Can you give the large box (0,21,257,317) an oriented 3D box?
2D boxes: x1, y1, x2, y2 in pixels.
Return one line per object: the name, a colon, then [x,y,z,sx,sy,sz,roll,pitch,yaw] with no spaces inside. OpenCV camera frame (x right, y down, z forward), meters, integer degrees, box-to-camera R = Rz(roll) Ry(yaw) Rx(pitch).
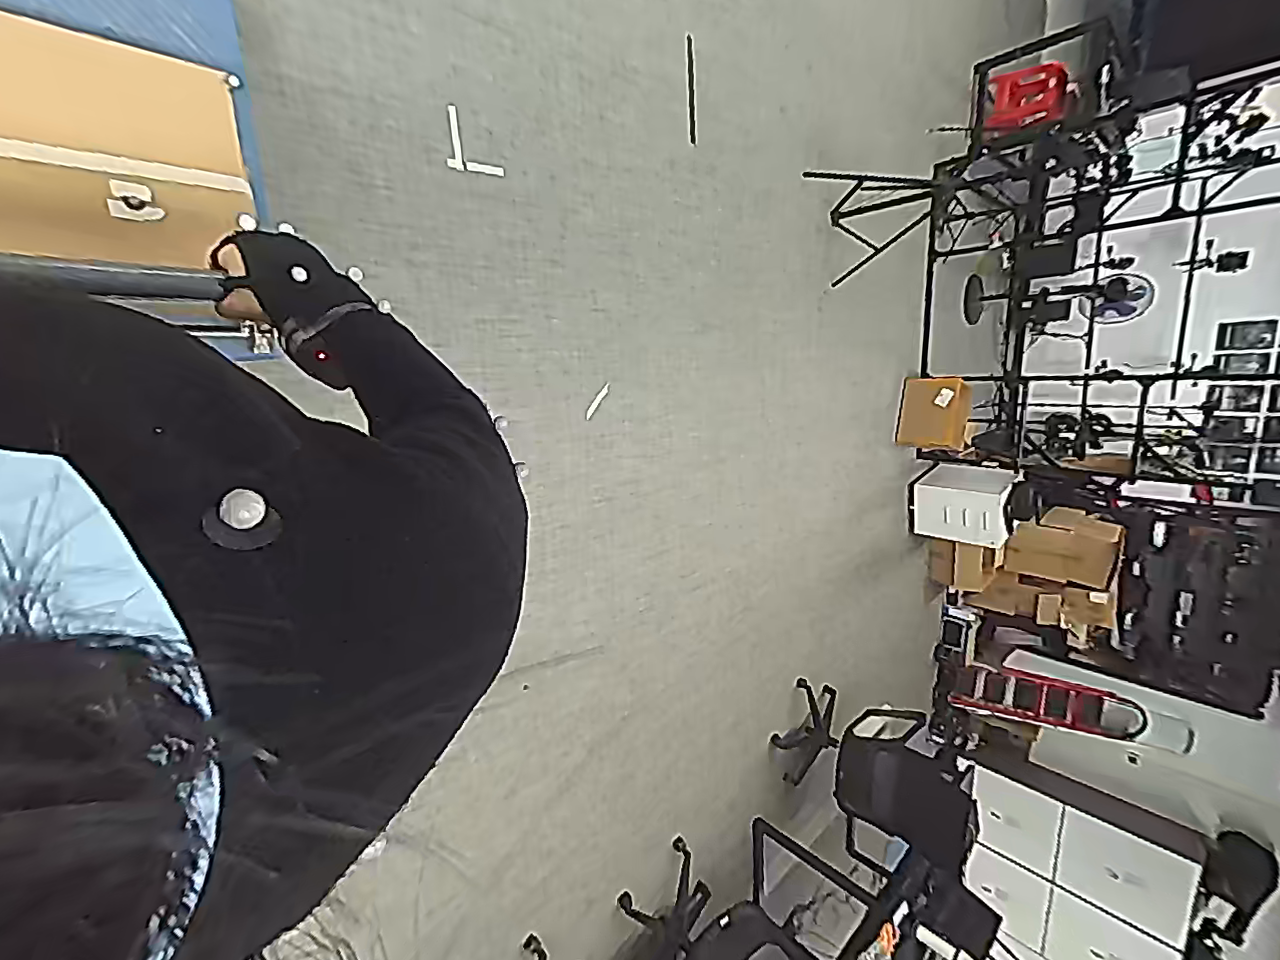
large box: [-0.854,-0.418,0.790,0.408,0.320,0.320,-13,106,-43]
